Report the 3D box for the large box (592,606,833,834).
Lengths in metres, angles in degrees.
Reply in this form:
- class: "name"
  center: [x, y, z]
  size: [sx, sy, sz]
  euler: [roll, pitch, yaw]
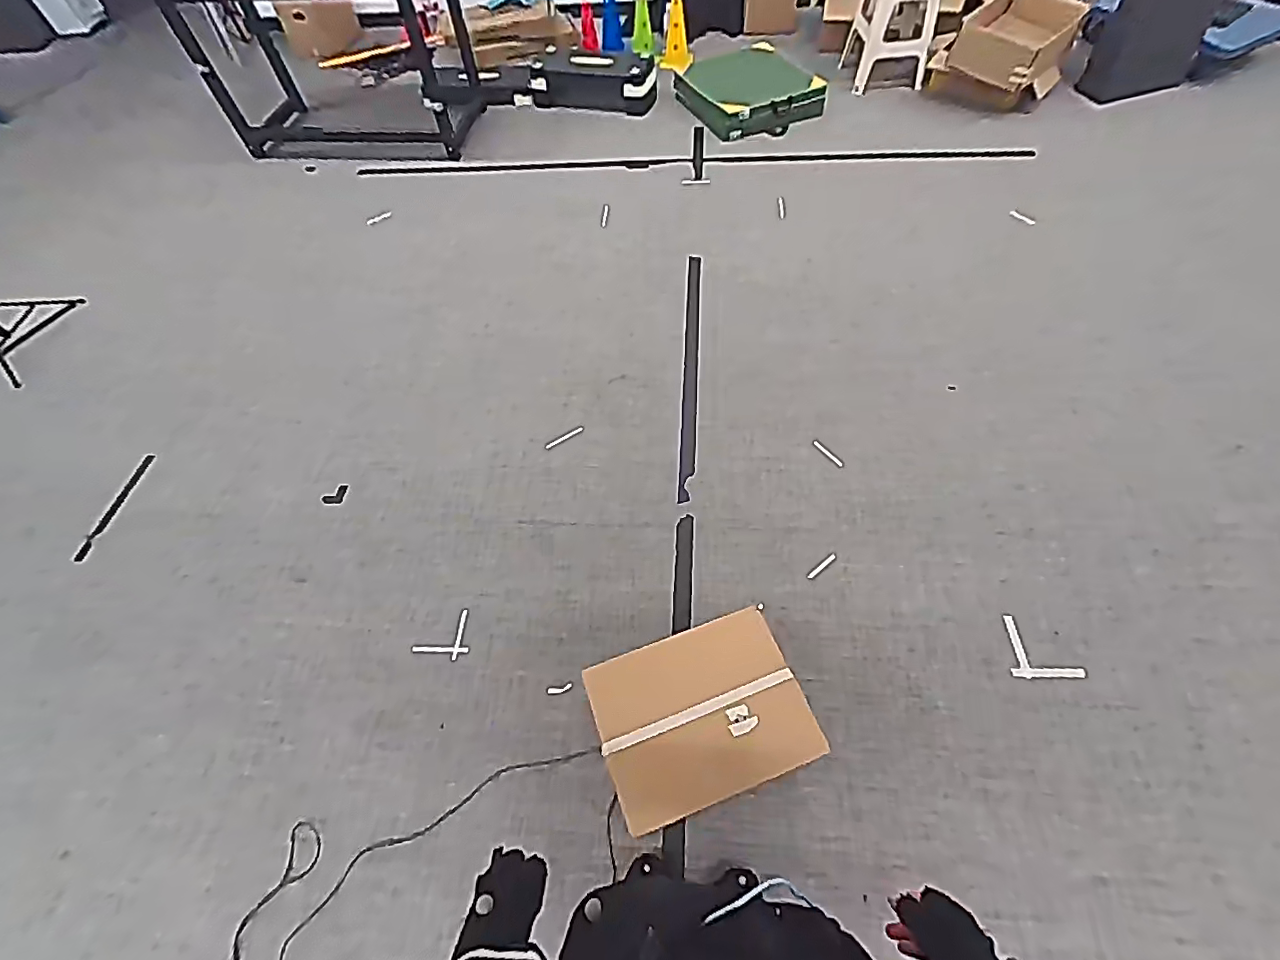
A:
- class: "large box"
  center: [0.139, 0.538, 1.201]
  size: [0.408, 0.320, 0.320]
  euler: [-18, 59, -9]
